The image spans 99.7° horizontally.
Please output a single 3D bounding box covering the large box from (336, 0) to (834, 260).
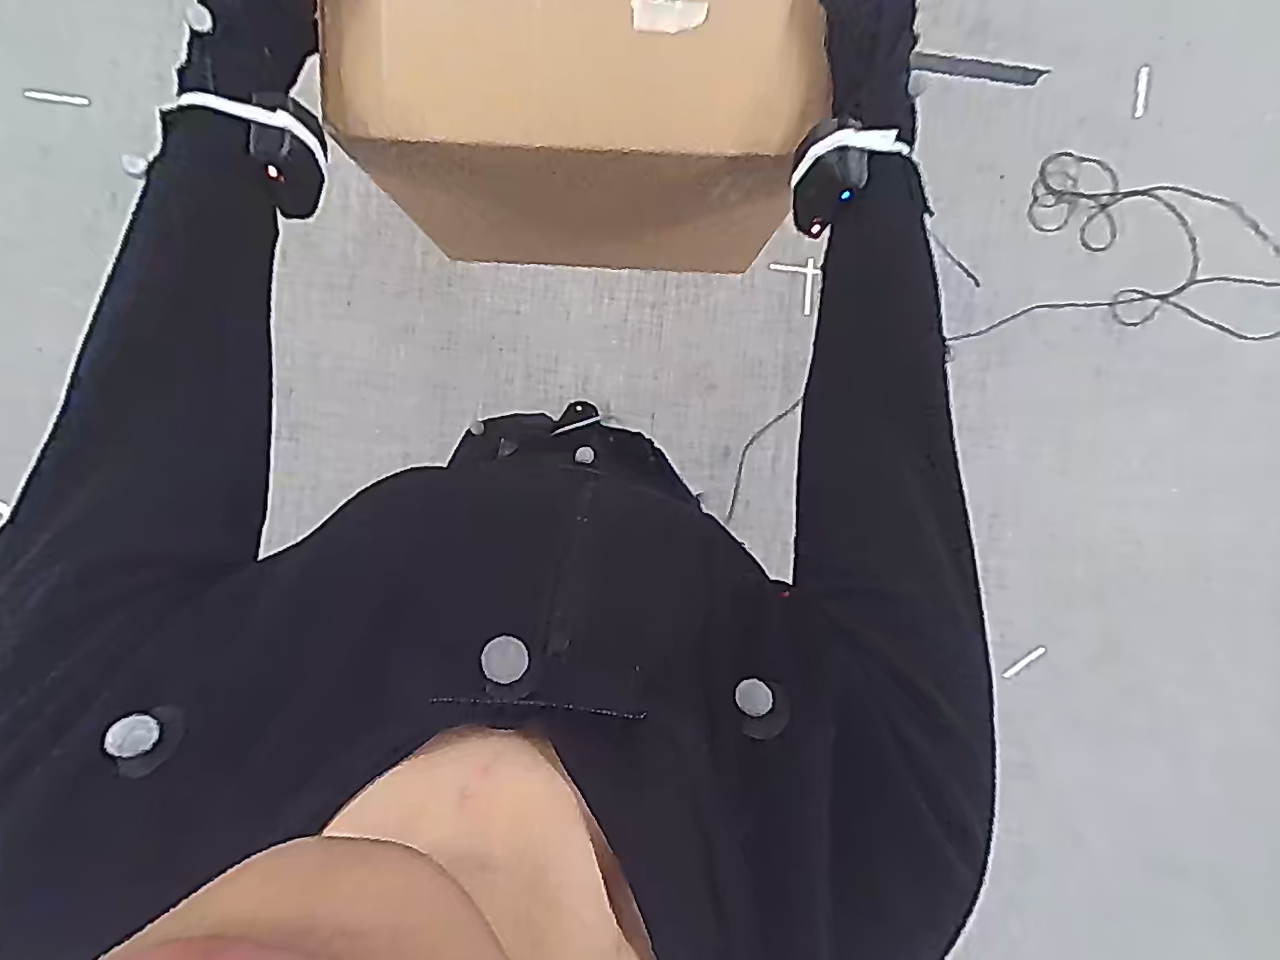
[{"bbox_3d":[-0.046,-0.444,0.576,0.408,0.320,0.320,2,95,-2],"label":"large box"}]
